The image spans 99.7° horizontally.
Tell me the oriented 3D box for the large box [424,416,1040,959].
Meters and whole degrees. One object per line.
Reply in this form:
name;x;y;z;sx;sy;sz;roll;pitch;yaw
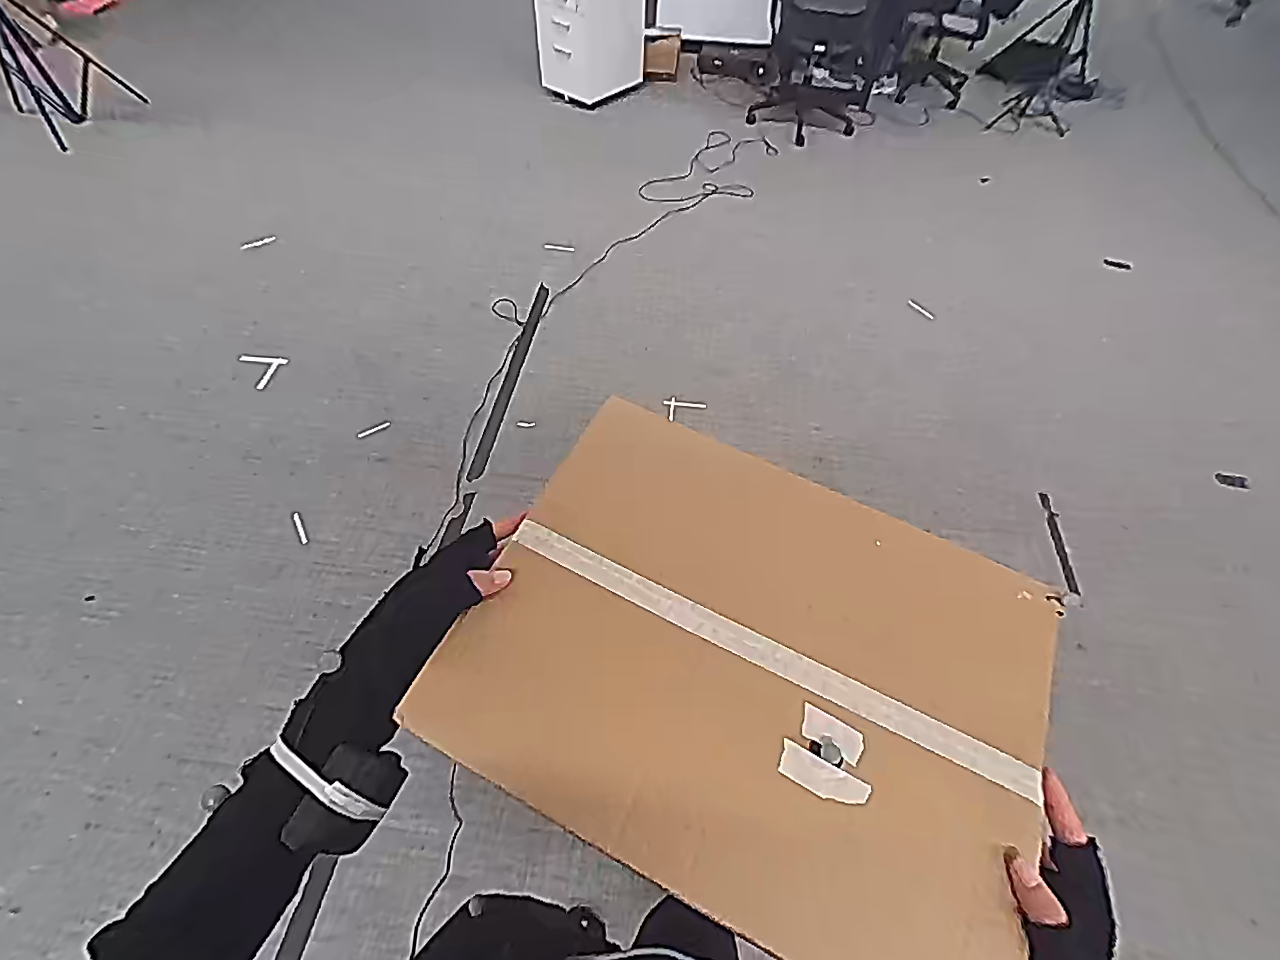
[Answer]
large box;0.079;0.205;0.539;0.408;0.320;0.320;25;62;10
